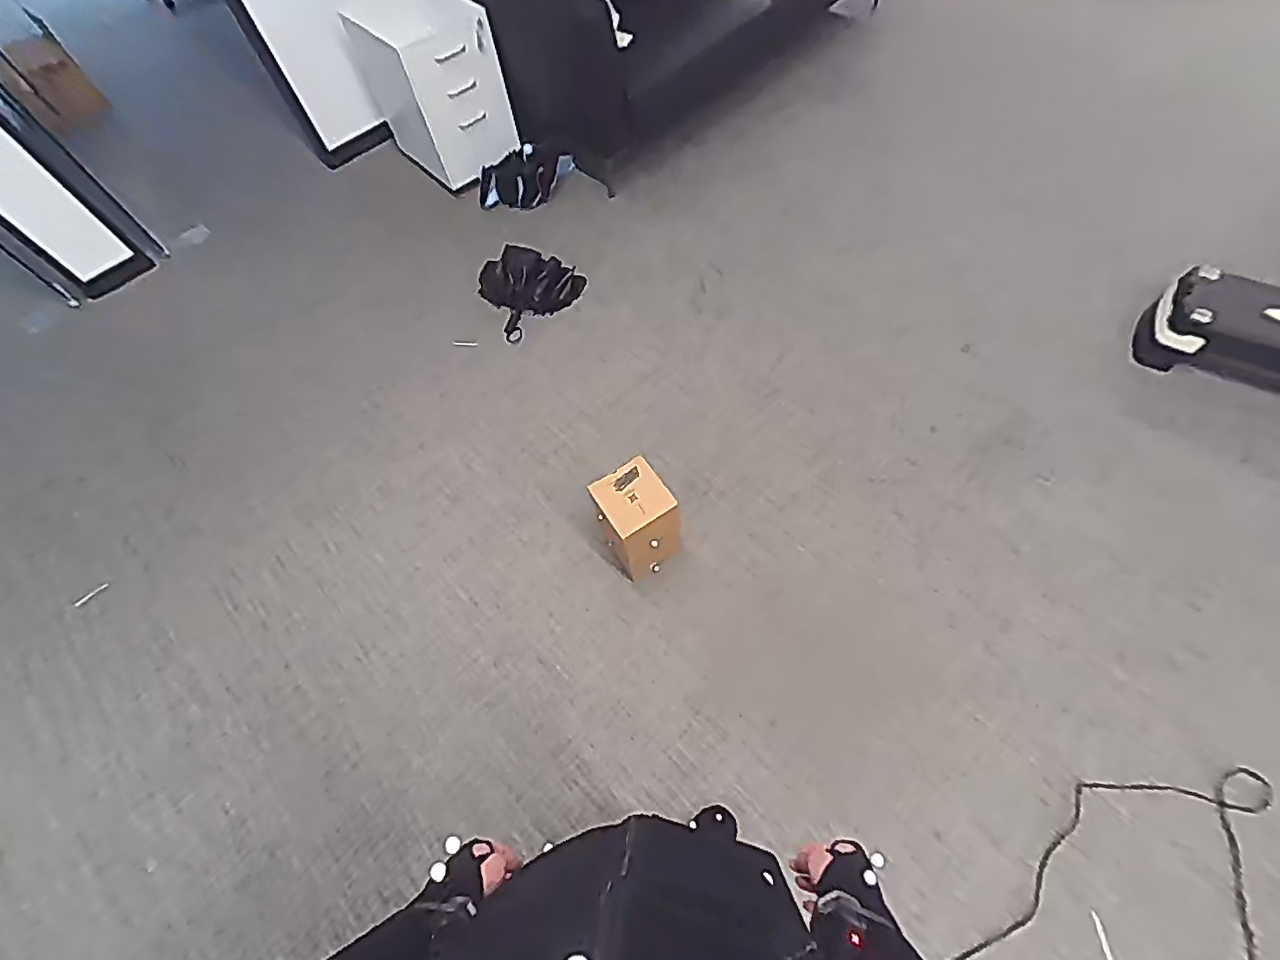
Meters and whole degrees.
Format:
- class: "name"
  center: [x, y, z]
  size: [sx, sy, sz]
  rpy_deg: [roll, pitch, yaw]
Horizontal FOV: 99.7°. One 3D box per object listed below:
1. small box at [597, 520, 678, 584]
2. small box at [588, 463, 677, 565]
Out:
- class: "small box"
  center: [-0.005, 0.173, 1.561]
  size: [0.168, 0.176, 0.179]
  rpy_deg: [-32, 64, -12]
- class: "small box"
  center: [-0.016, 0.093, 1.417]
  size: [0.168, 0.176, 0.179]
  rpy_deg: [-31, 64, -11]
